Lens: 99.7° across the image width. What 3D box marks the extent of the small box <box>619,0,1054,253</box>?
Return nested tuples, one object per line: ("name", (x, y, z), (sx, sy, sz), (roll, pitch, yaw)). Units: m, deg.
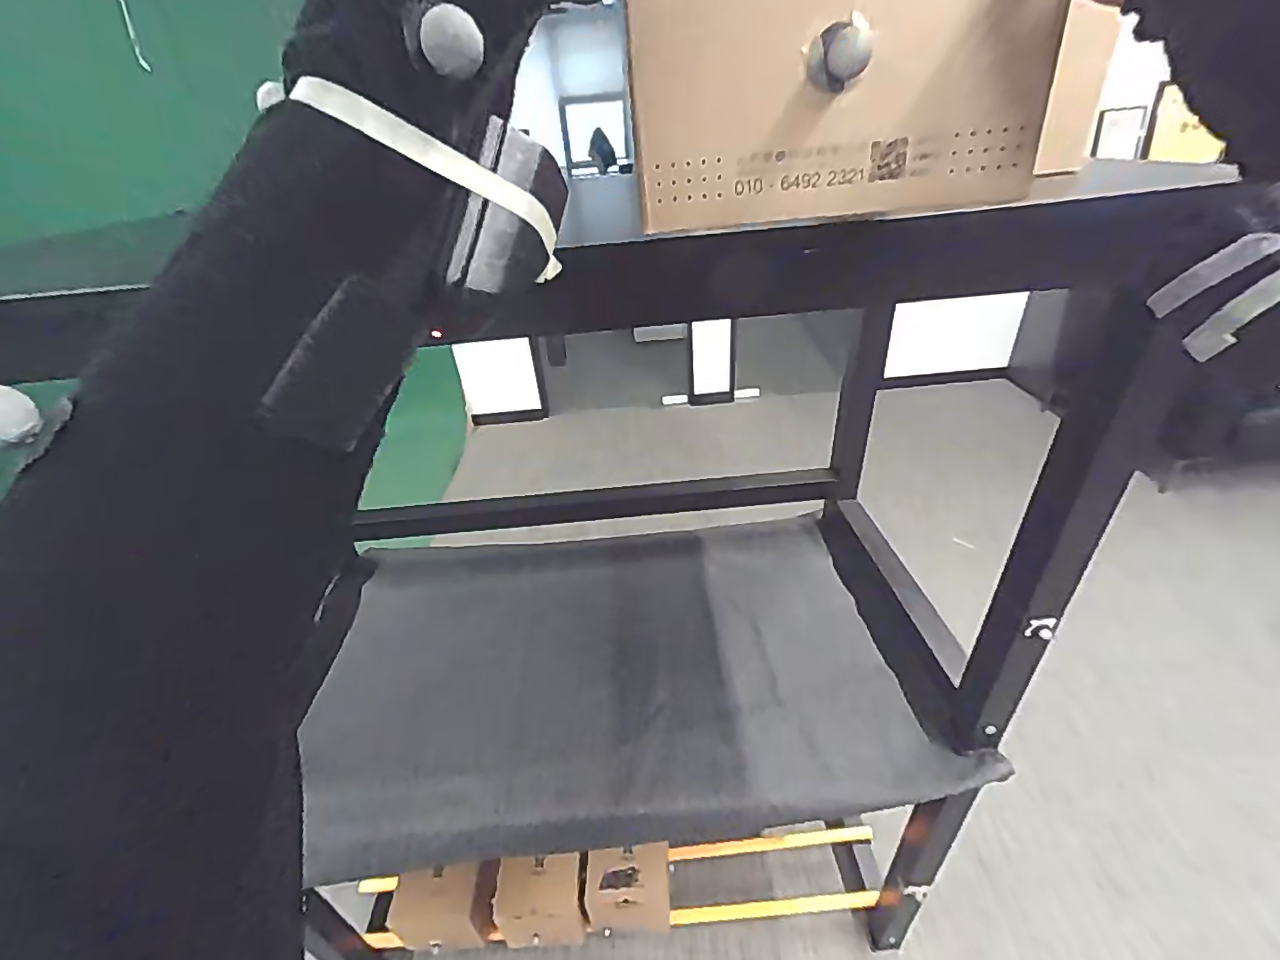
("small box", (0.076, -0.217, 0.278), (0.168, 0.176, 0.179), (-4, 28, 4))
